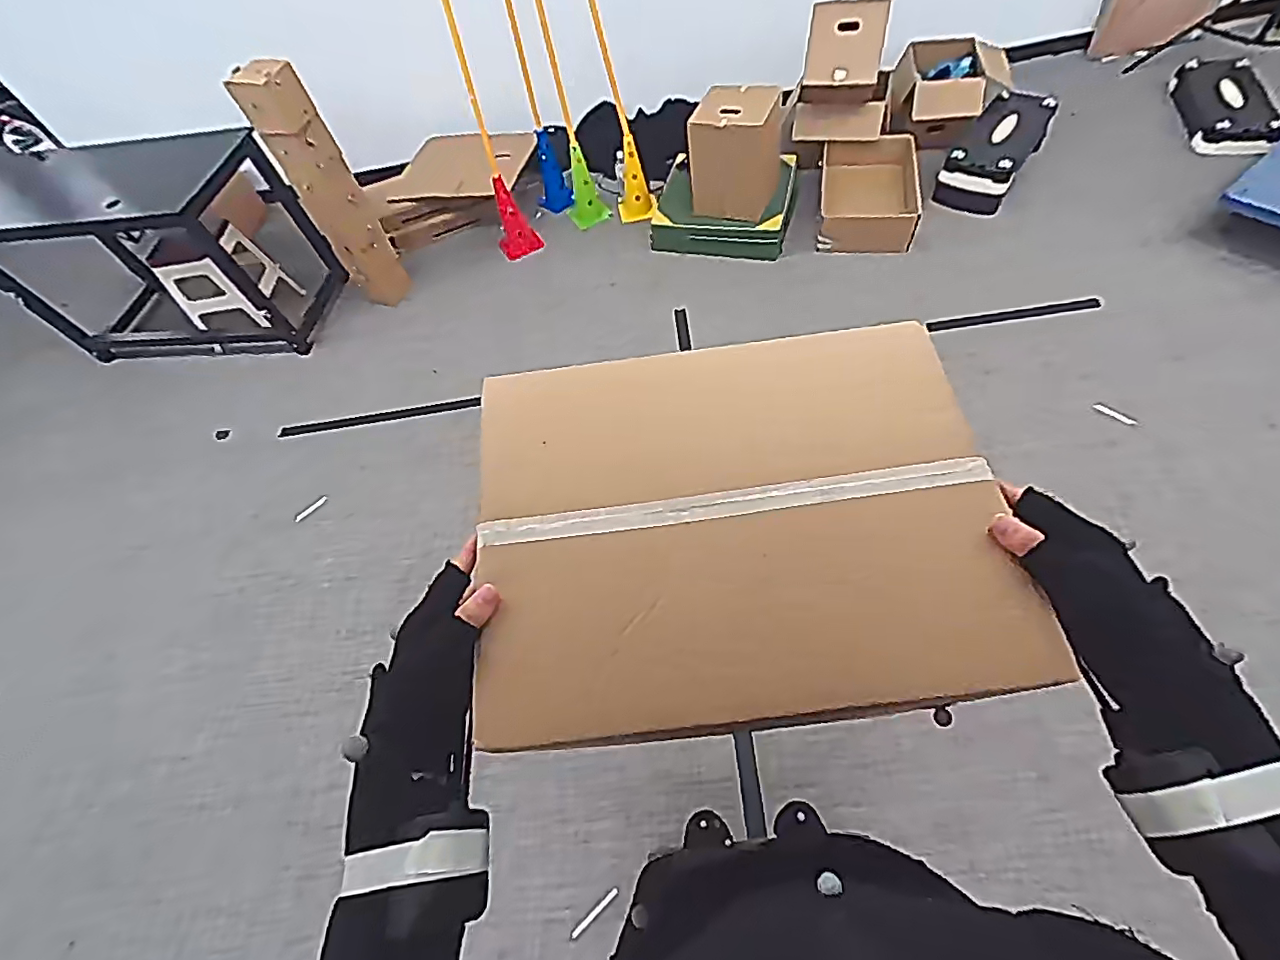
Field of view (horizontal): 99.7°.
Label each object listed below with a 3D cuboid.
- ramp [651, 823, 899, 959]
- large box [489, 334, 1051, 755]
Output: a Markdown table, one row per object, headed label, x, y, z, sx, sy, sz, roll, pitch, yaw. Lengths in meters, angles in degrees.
| label | x | y | z | sx | sy | sz | roll | pitch | yaw |
| --- | --- | --- | --- | --- | --- | --- | --- | --- | --- |
| ramp | 0.316 | 1.245 | 1.024 | 0.509 | 0.206 | 0.991 | -9 | 58 | 3 |
| large box | 0.086 | 0.092 | 0.574 | 0.408 | 0.320 | 0.320 | -8 | 63 | 2 |
